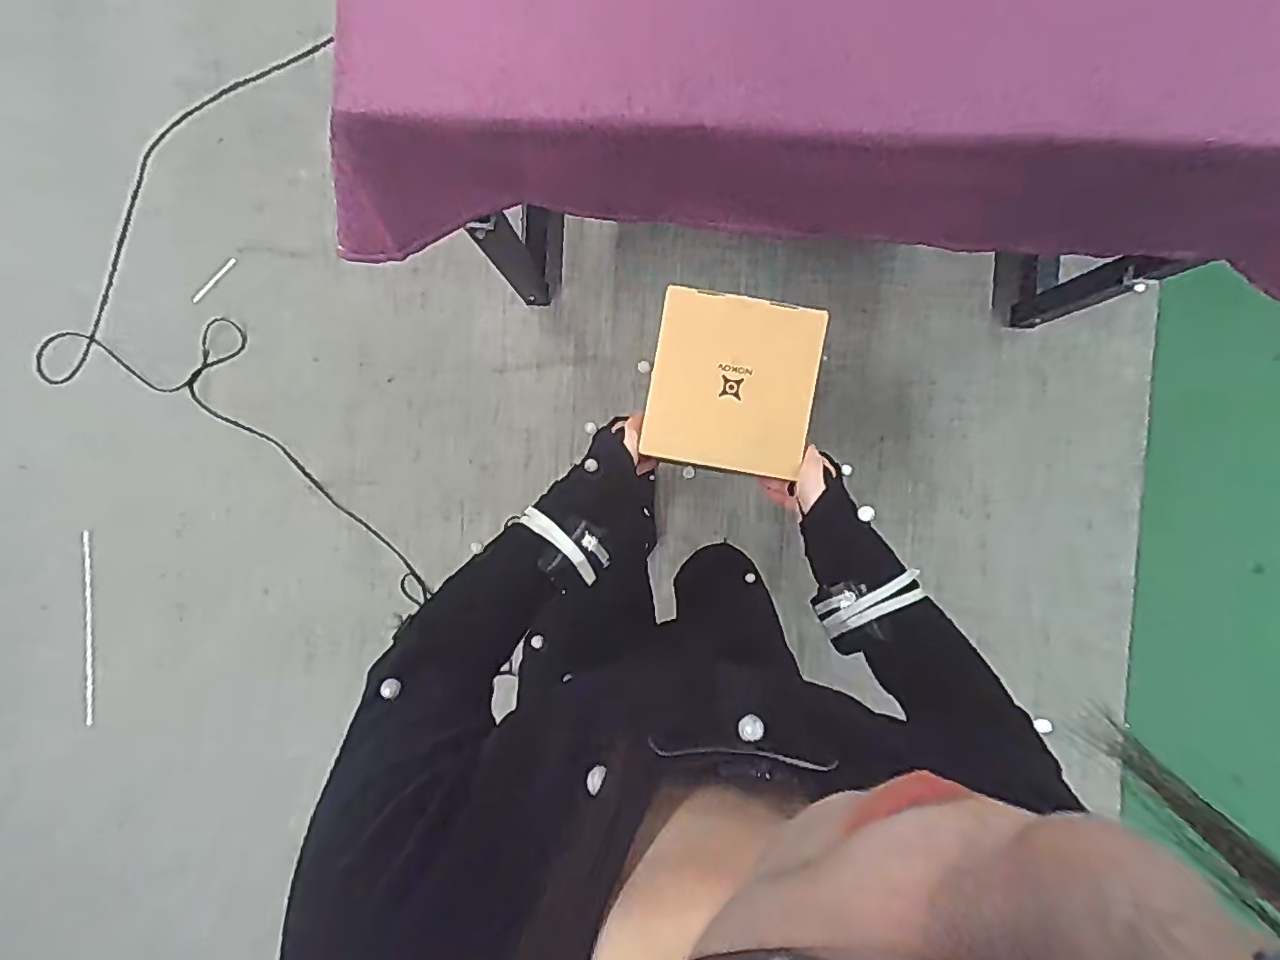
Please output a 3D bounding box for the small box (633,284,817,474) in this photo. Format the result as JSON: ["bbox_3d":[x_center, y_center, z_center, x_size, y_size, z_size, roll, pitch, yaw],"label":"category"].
[{"bbox_3d":[0.092,-0.106,0.642,0.168,0.176,0.179,11,91,2],"label":"small box"}]
